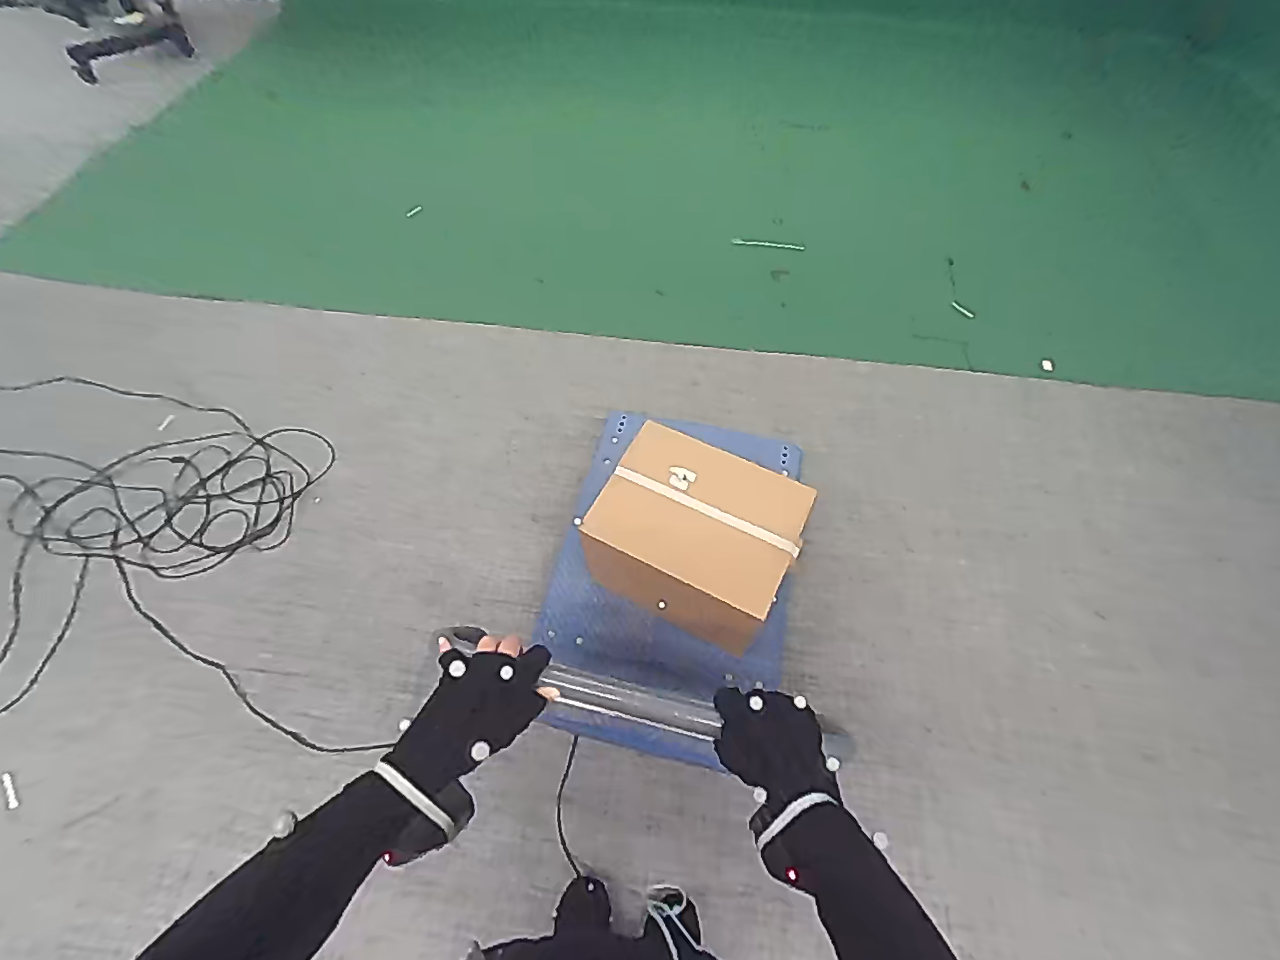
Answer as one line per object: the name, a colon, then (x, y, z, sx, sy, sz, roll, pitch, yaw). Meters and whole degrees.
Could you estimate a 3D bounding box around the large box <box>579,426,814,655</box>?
large box: (0.125, 0.145, 1.235, 0.408, 0.320, 0.320, 25, 63, 15)
